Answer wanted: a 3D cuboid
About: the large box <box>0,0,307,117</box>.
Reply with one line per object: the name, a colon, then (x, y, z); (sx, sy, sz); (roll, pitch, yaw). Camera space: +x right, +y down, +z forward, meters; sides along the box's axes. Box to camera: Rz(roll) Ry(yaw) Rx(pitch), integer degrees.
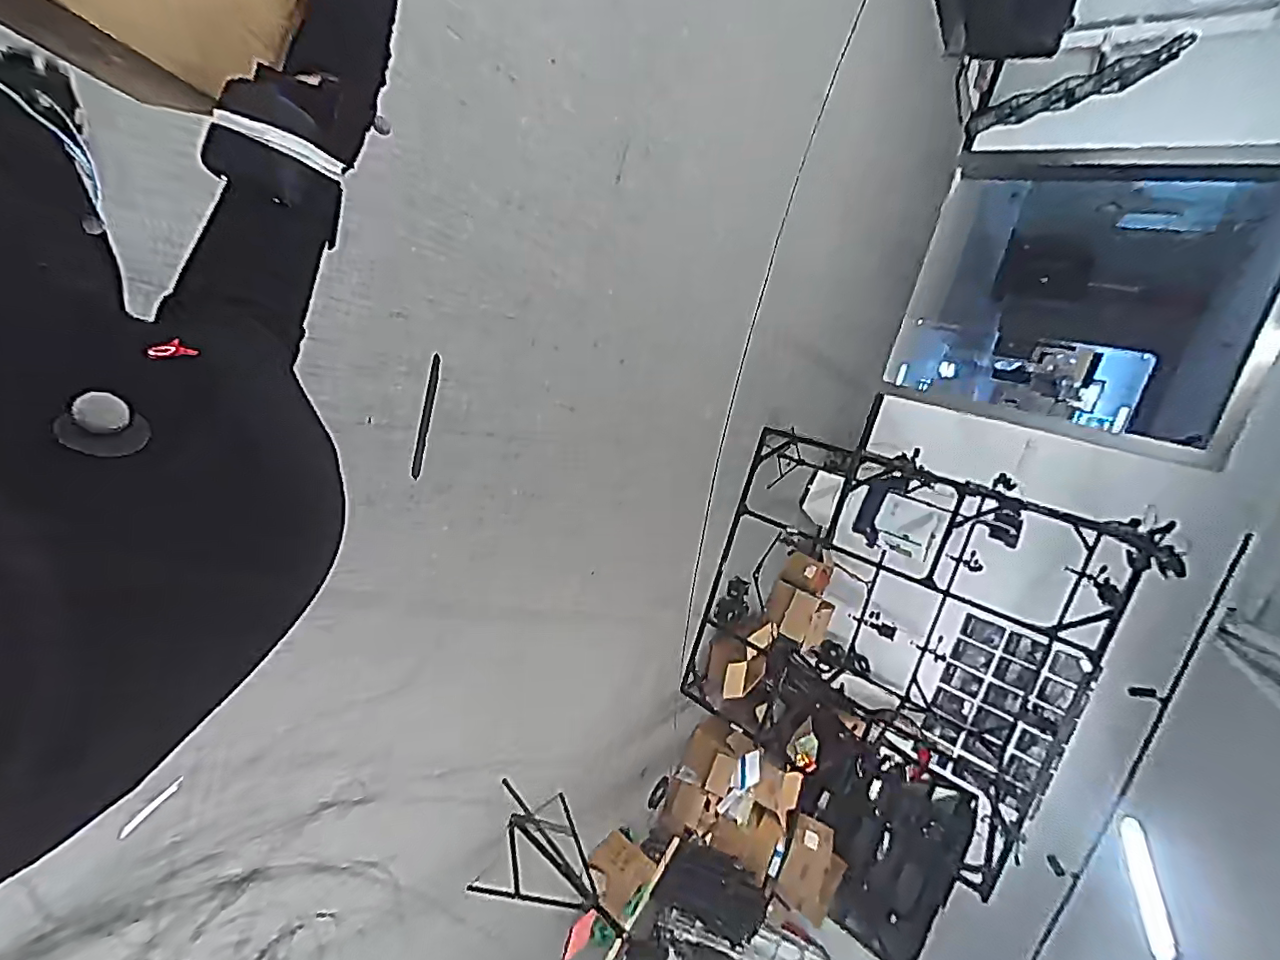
large box: (-0.429, -0.489, 0.292); (0.408, 0.320, 0.320); (15, 103, -58)
